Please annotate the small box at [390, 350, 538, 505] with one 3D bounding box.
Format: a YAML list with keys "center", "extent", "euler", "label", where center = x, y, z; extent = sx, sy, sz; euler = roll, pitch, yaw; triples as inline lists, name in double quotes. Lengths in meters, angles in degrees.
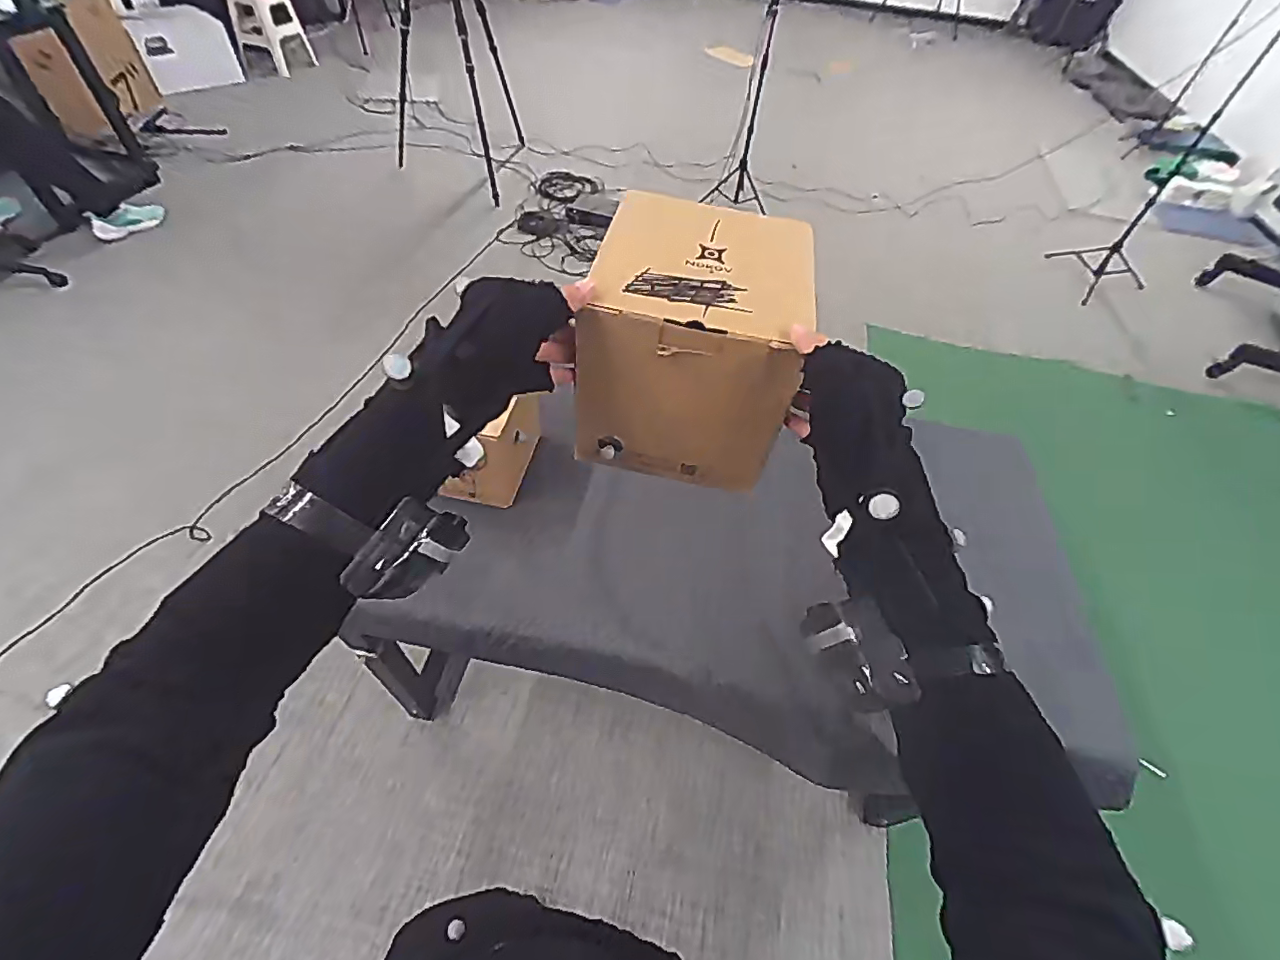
- center: [-0.270, -0.081, 0.882]
  extent: [0.168, 0.176, 0.179]
  euler: [10, 52, 3]
  label: "small box"

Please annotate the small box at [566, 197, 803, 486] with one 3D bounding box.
- center: [0.038, -0.119, 0.482]
  extent: [0.168, 0.176, 0.179]
  euler: [12, 51, 3]
  label: "small box"
